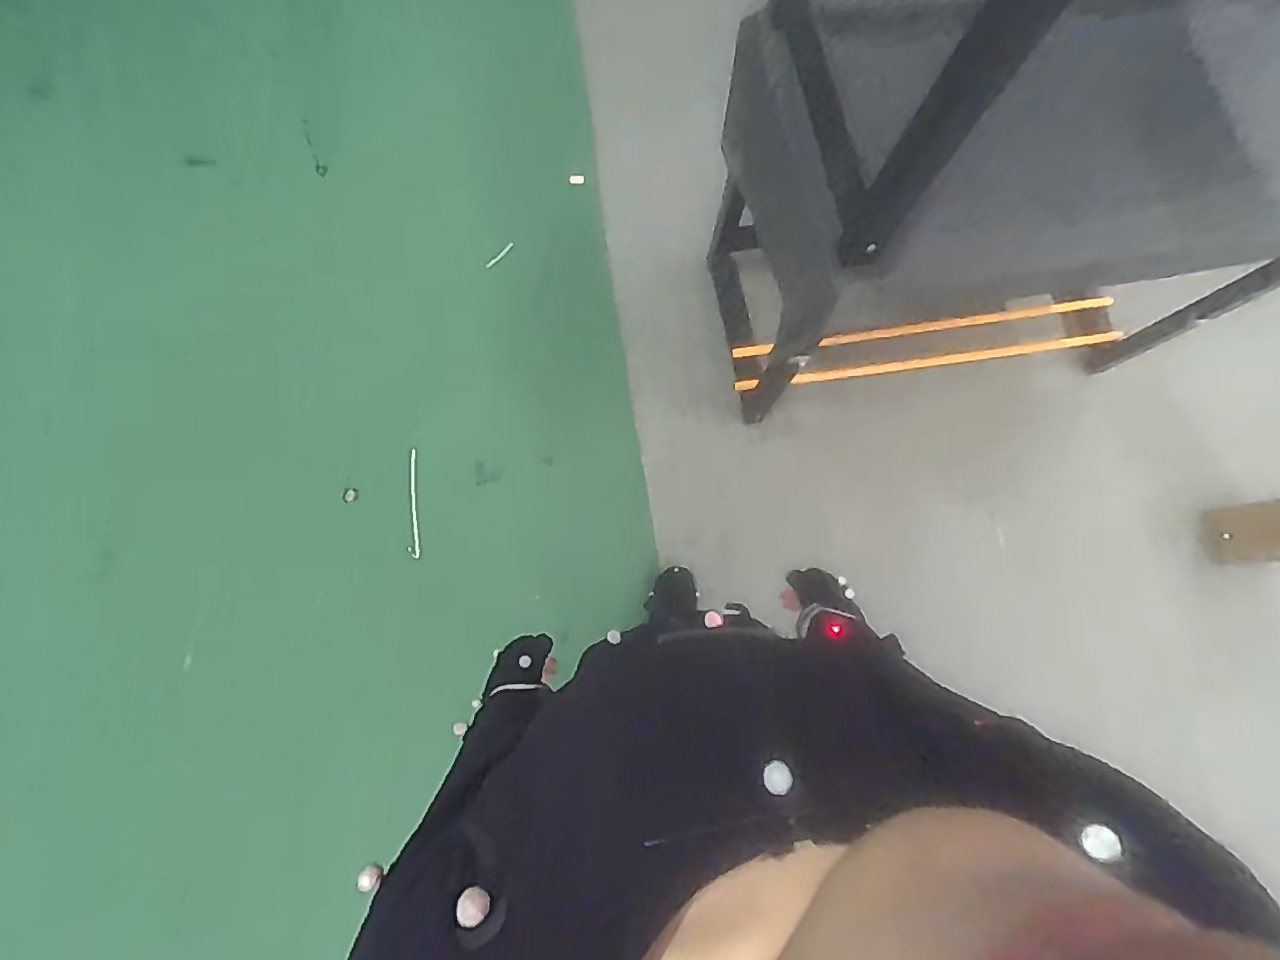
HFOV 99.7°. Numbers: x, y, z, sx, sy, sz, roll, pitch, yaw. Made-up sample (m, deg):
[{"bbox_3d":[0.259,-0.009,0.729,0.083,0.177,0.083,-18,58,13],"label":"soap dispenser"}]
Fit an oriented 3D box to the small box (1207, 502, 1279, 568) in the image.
[{"bbox_3d":[1.762,0.154,1.504,0.179,0.176,0.168,-3,76,-2],"label":"small box"}]
